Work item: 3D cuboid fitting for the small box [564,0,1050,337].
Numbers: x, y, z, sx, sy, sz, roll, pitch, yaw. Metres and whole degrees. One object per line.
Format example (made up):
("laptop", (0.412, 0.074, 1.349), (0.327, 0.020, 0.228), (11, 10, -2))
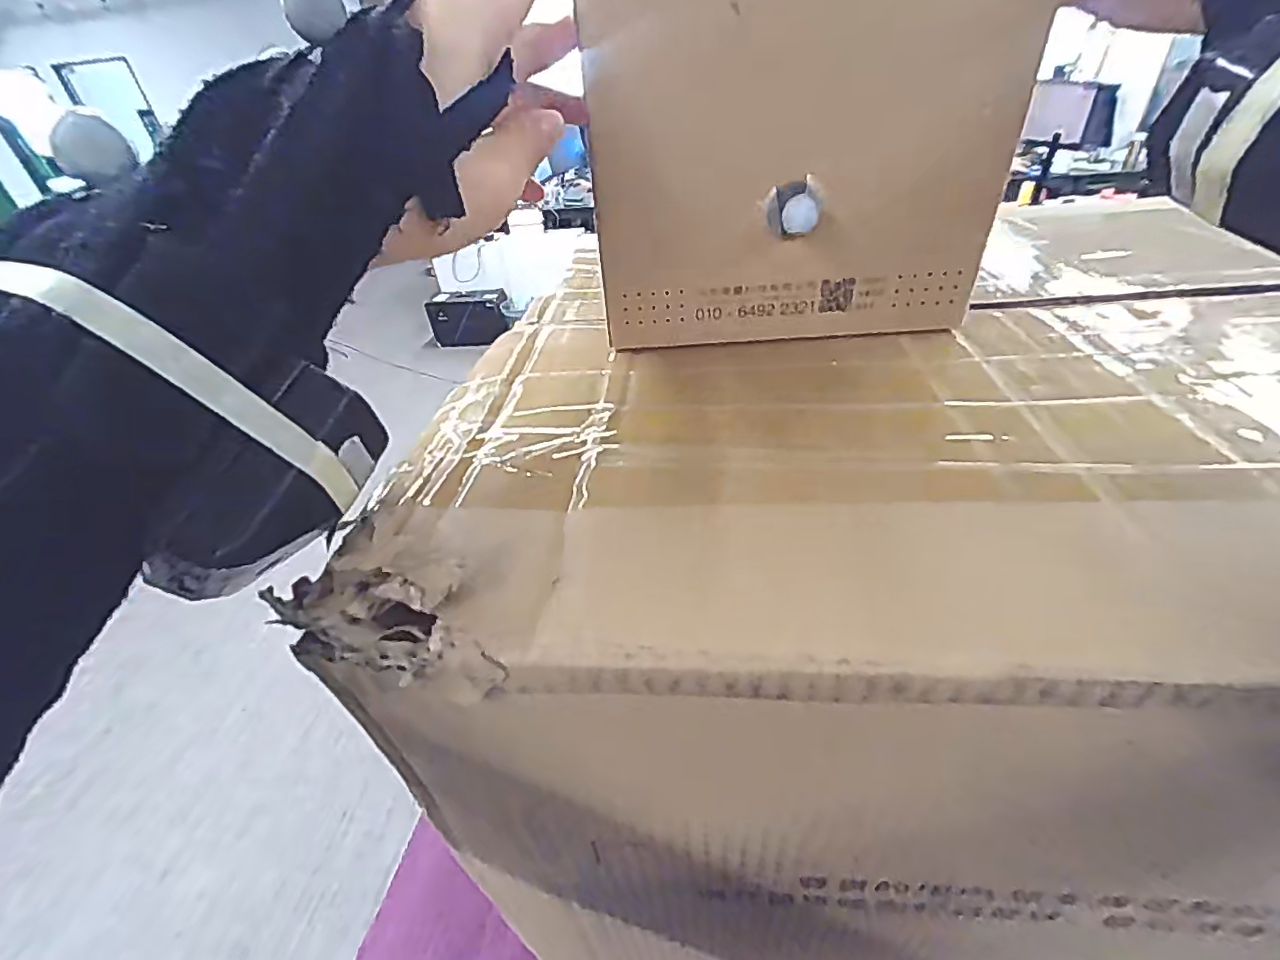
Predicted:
("small box", (0.058, -0.183, 0.266), (0.168, 0.176, 0.179), (-3, 37, 4))
